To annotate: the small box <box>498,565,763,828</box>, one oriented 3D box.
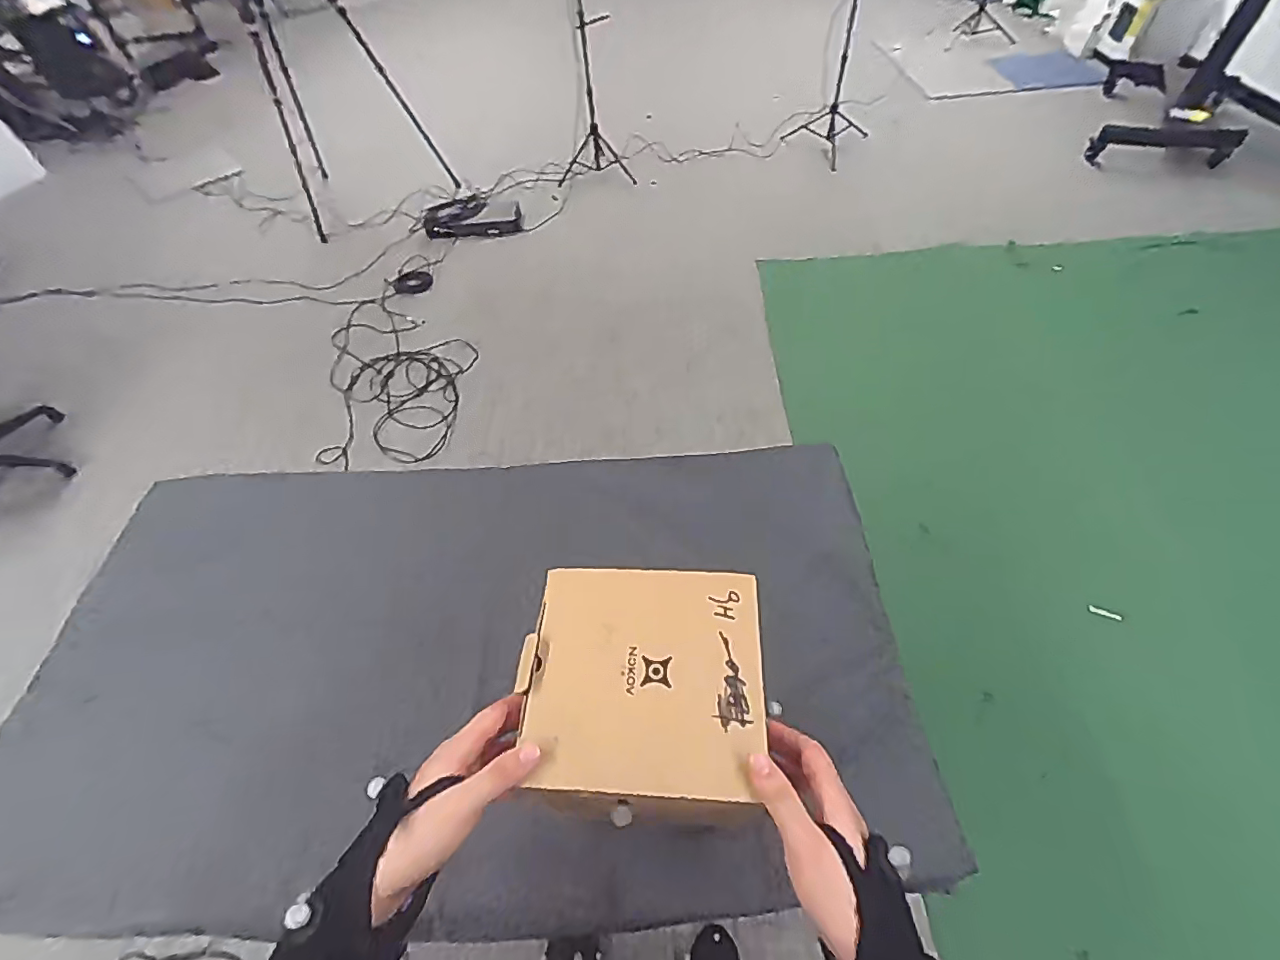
[{"bbox_3d":[0.005,0.186,0.456,0.179,0.176,0.168,1,53,6],"label":"small box"}]
